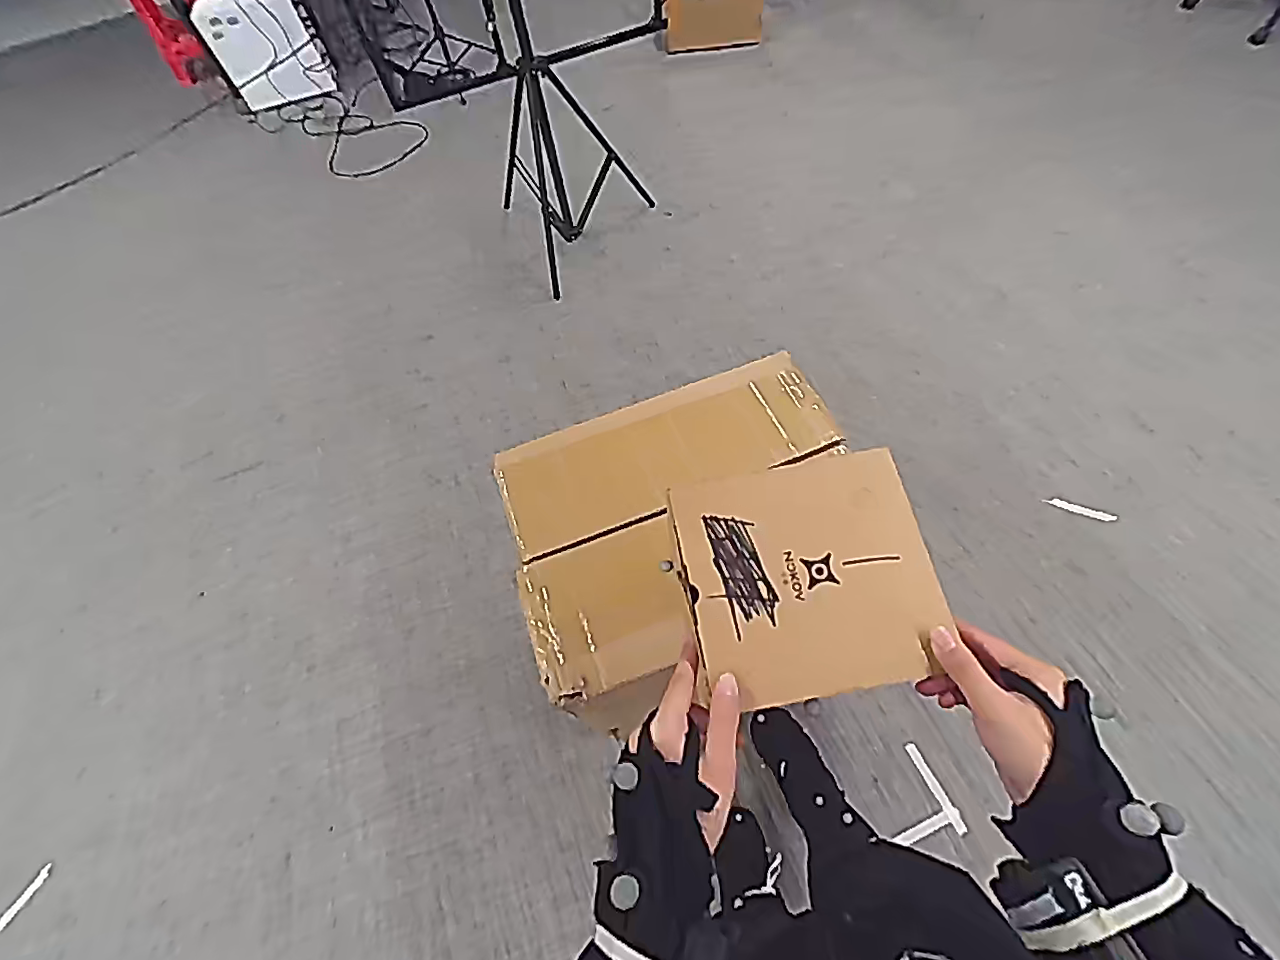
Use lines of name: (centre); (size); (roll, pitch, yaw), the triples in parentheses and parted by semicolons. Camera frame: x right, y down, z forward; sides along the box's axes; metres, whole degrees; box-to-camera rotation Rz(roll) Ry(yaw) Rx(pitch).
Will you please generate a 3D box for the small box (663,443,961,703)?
small box: (0.122, 0.090, 0.462); (0.179, 0.176, 0.168); (-11, 69, 0)
